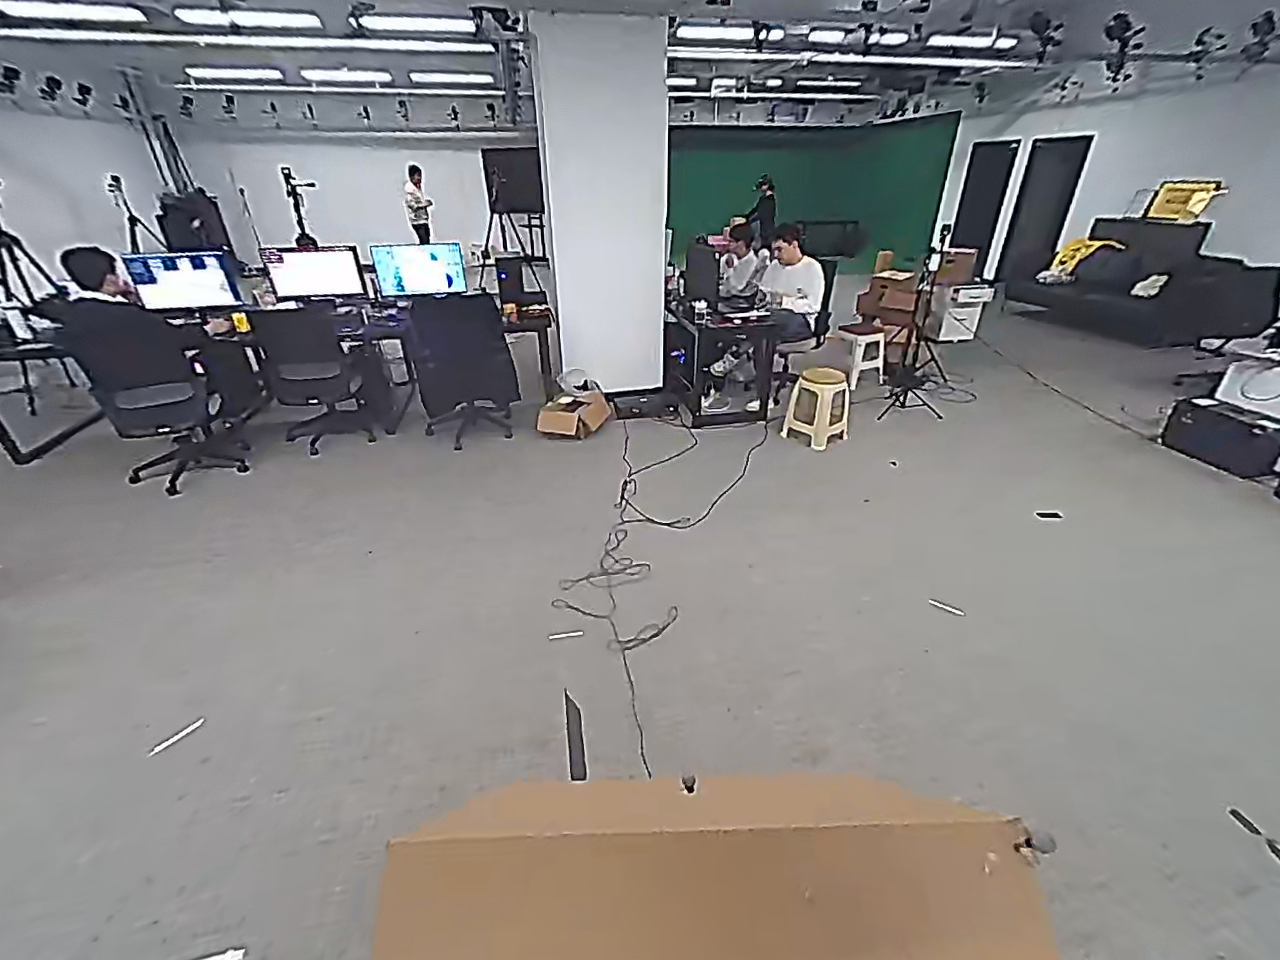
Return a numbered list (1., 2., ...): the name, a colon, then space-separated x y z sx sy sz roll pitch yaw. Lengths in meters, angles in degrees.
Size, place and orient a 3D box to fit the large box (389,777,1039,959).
1. large box: 0.050 0.434 0.432 0.408 0.320 0.320 -3 67 1
